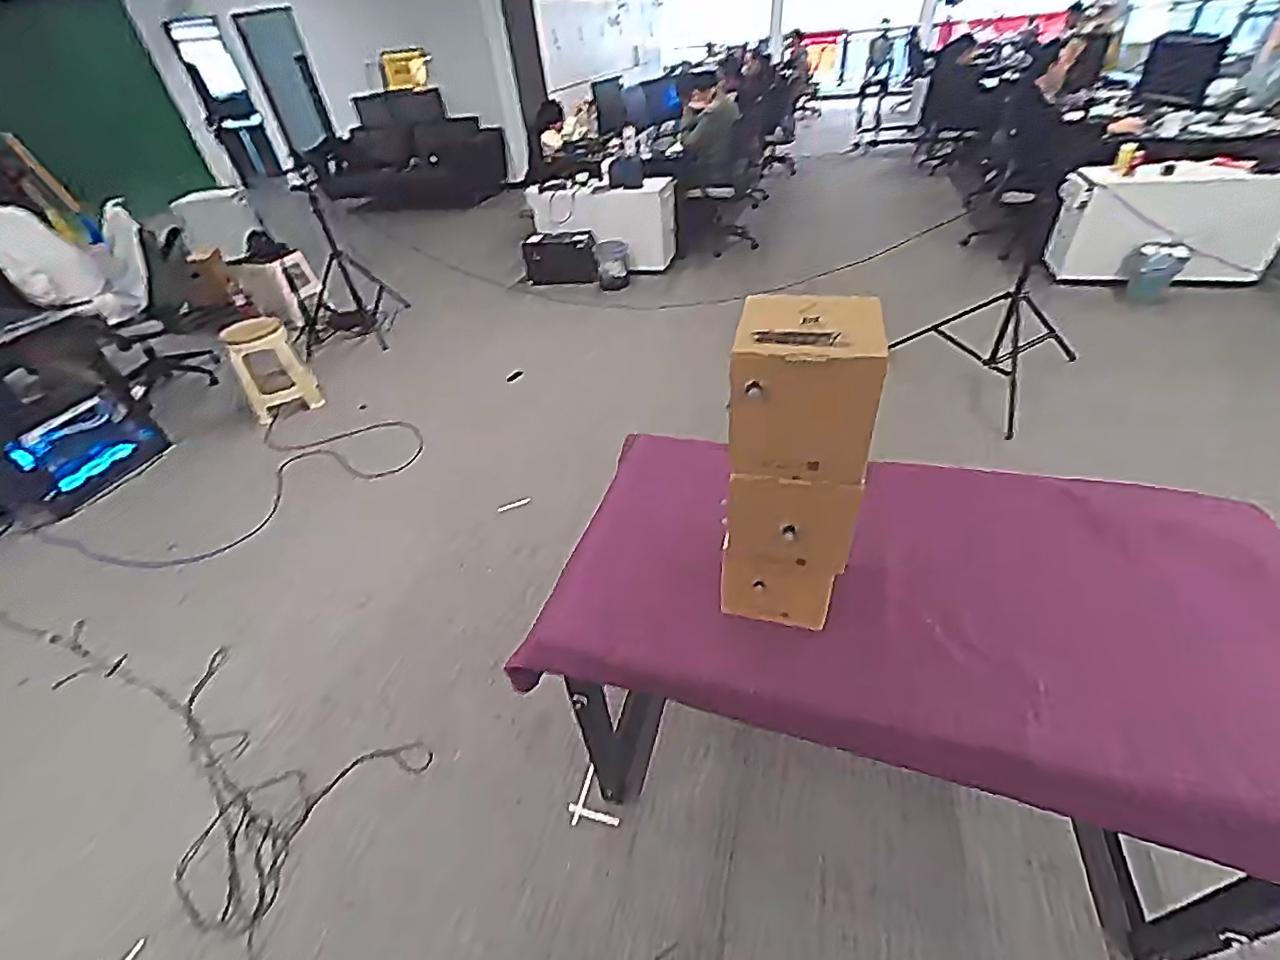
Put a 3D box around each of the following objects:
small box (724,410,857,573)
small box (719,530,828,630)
[{"bbox_3d":[0.214,0.016,0.792,0.168,0.176,0.179,4,41,12],"label":"small box"},{"bbox_3d":[0.230,0.127,0.914,0.168,0.176,0.179,7,41,15],"label":"small box"}]
